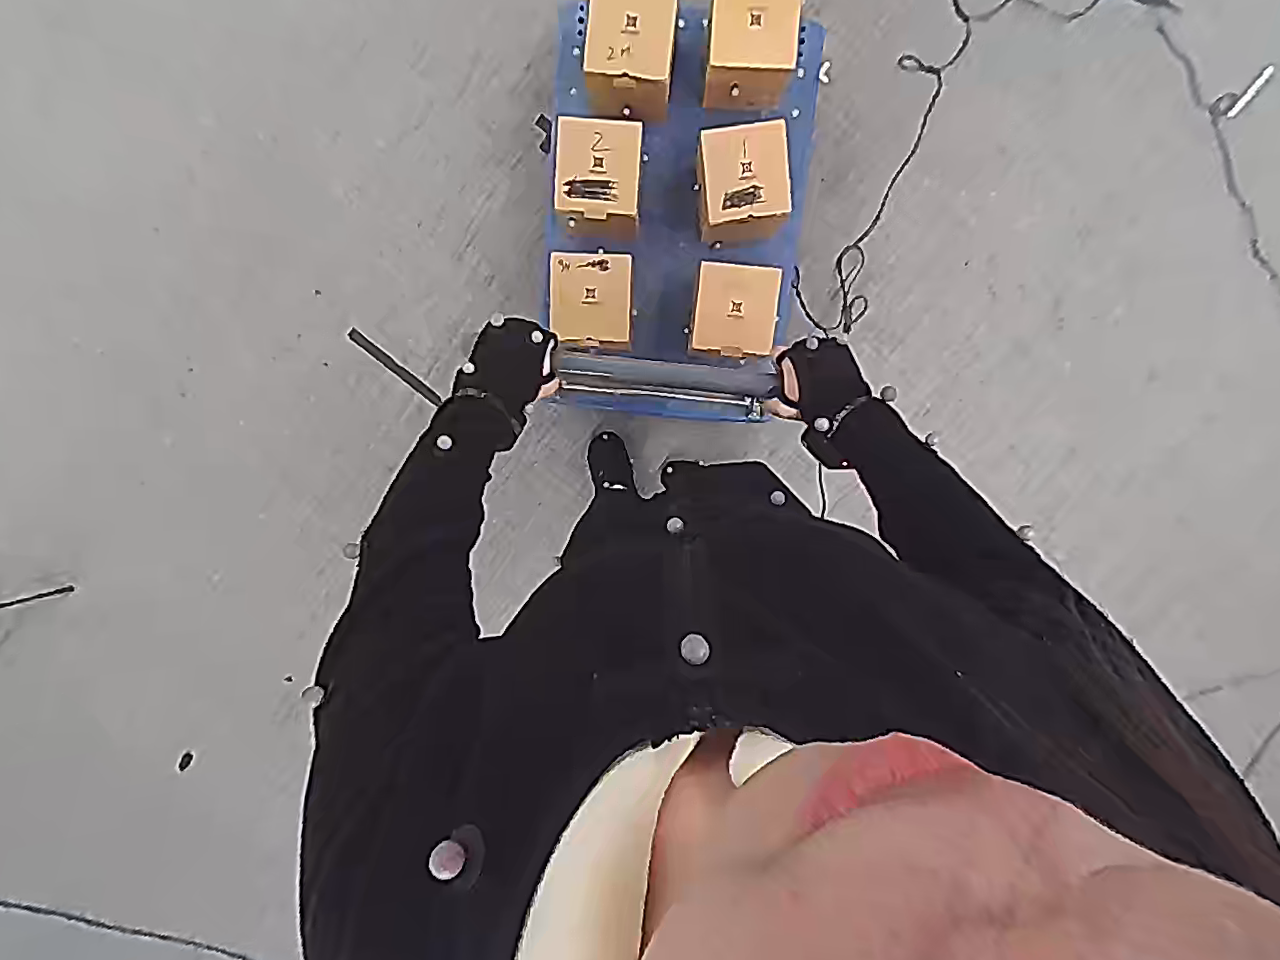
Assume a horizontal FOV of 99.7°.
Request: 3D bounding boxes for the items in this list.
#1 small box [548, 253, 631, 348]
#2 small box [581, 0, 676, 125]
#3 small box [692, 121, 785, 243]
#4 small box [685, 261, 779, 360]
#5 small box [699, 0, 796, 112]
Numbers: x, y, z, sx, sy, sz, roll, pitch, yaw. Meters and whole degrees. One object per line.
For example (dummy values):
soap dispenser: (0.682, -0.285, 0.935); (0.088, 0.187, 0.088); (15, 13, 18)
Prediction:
small box: (-0.105, -0.383, 1.181); (0.168, 0.176, 0.179); (2, 99, 0)
small box: (-0.022, -0.870, 1.104); (0.168, 0.176, 0.179); (7, 100, 0)
small box: (0.203, -0.615, 1.141); (0.168, 0.176, 0.179); (-6, 98, 2)
small box: (0.192, -0.360, 1.181); (0.168, 0.176, 0.179); (6, 98, -1)
small box: (0.213, -0.884, 1.101); (0.168, 0.176, 0.179); (3, 99, 0)
